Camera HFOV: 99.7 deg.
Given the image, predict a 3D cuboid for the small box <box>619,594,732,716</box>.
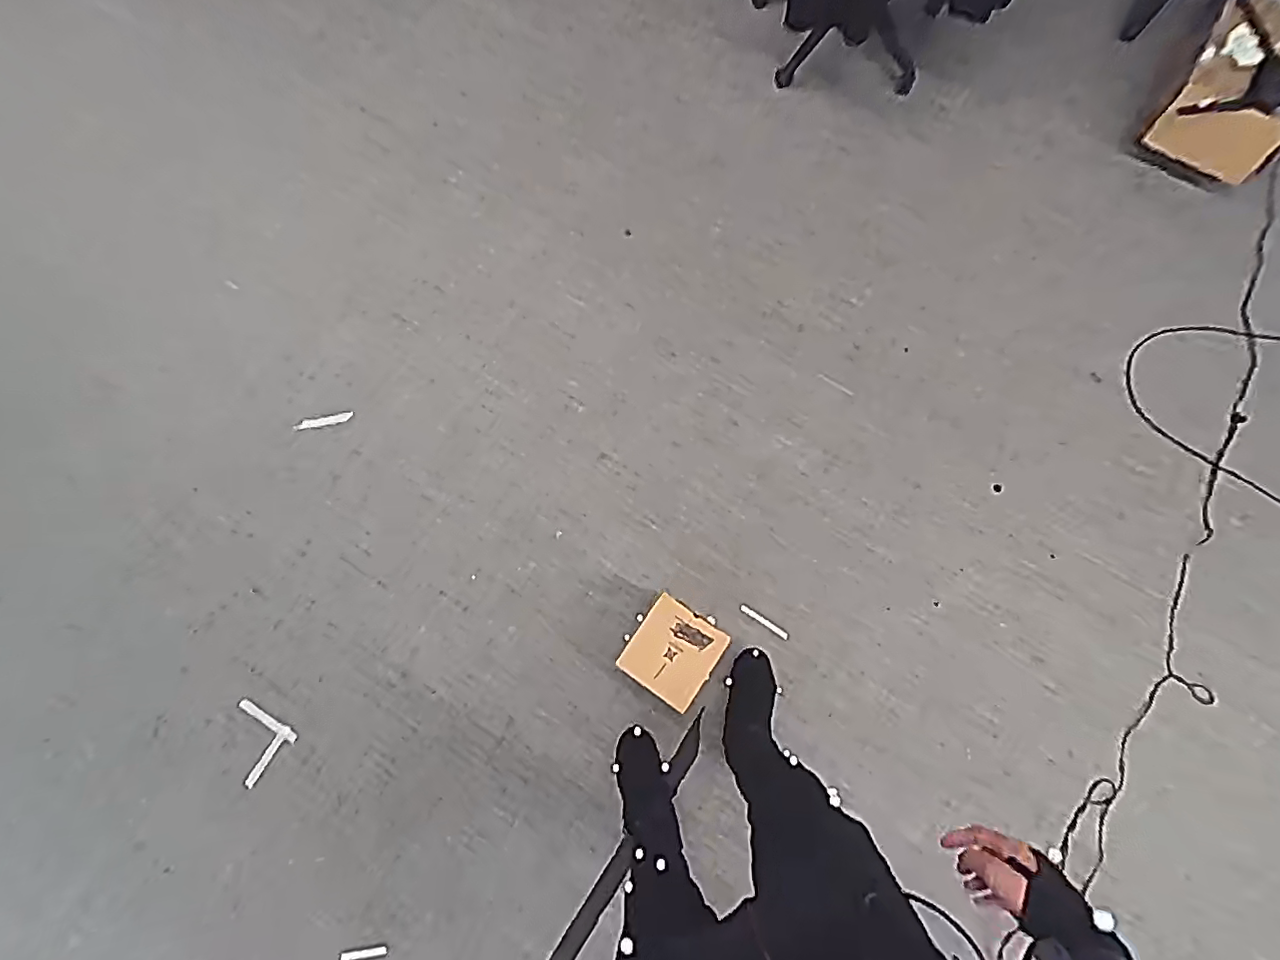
[{"bbox_3d":[0.070,0.359,1.146,0.168,0.176,0.179,34,81,8],"label":"small box"}]
